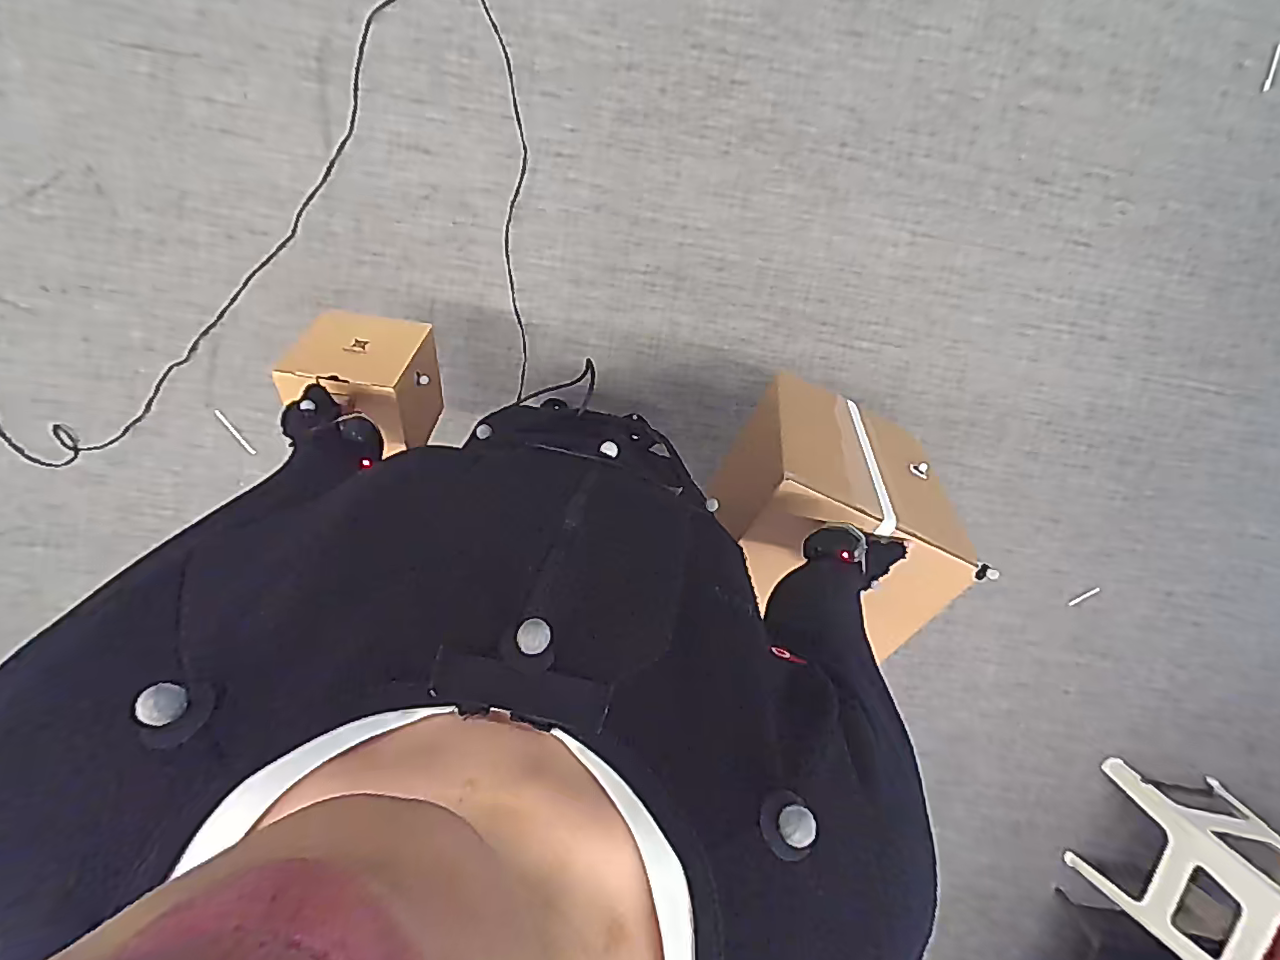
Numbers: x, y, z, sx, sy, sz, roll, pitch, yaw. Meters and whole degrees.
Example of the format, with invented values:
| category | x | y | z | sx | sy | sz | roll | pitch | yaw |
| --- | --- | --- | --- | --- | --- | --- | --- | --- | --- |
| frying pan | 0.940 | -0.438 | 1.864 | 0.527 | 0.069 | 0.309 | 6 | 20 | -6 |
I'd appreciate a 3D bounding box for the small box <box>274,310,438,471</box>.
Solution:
| category | x | y | z | sx | sy | sz | roll | pitch | yaw |
| --- | --- | --- | --- | --- | --- | --- | --- | --- | --- |
| small box | -0.428 | -0.140 | 0.854 | 0.168 | 0.179 | 0.176 | 7 | 136 | -4 |
